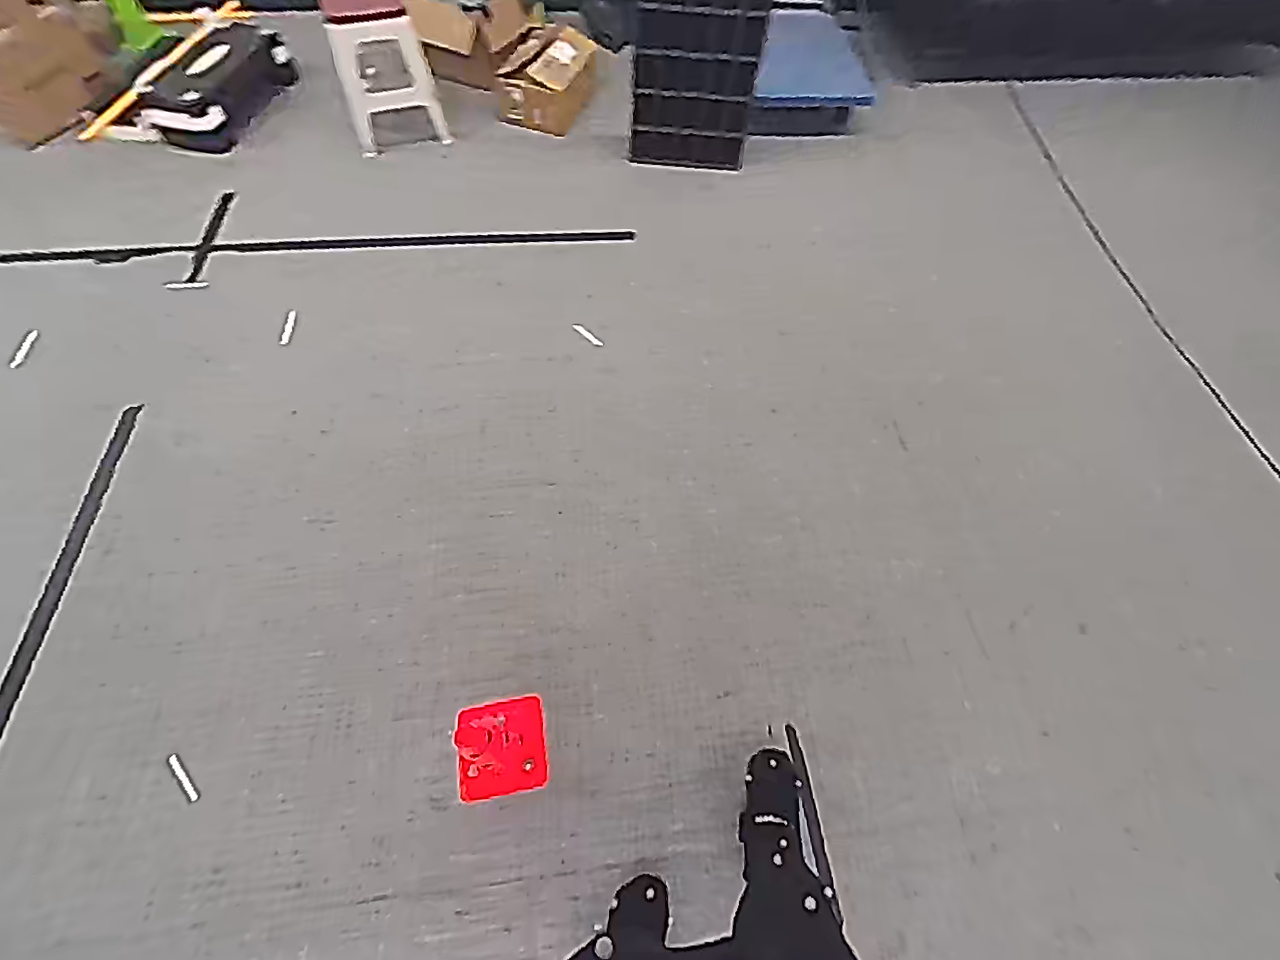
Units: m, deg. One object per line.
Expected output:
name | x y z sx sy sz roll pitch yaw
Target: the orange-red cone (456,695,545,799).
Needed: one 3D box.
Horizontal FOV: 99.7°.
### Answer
orange-red cone | -0.314 0.523 1.095 0.198 0.360 0.199 -7 60 -7
